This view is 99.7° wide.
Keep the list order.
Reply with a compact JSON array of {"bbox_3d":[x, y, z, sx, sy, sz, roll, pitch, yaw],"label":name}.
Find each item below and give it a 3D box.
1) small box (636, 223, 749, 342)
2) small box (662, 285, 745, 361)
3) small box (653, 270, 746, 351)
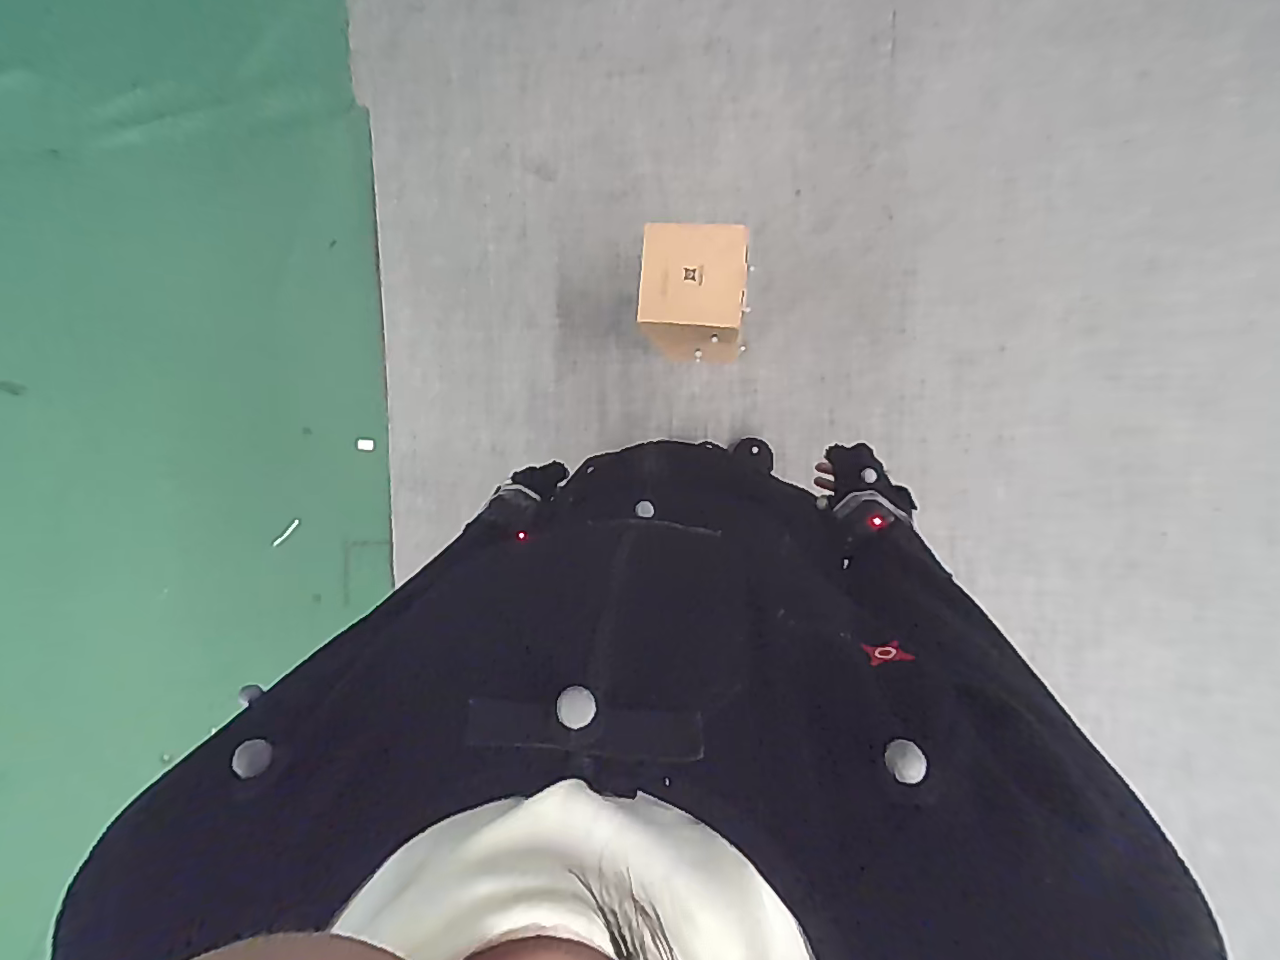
[{"bbox_3d":[0.099,-0.347,0.976,0.179,0.176,0.168,5,95,10],"label":"small box"},{"bbox_3d":[0.154,-0.381,1.296,0.179,0.176,0.168,5,96,10],"label":"small box"},{"bbox_3d":[0.127,-0.365,1.138,0.179,0.176,0.168,3,97,10],"label":"small box"}]
